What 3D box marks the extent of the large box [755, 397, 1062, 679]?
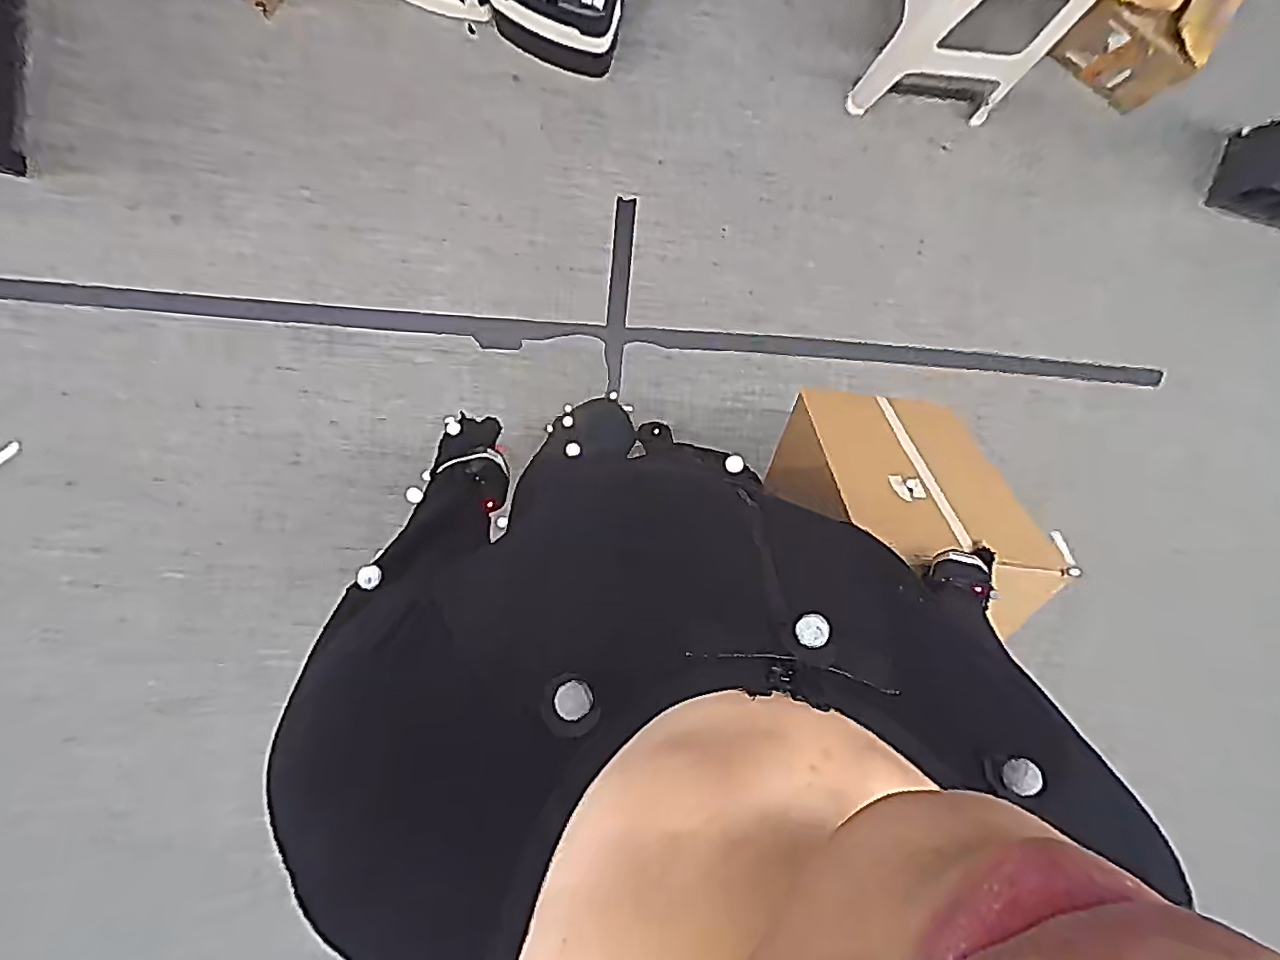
[{"bbox_3d":[0.433,0.101,1.003,0.320,0.408,0.320,6,133,-5],"label":"large box"}]
